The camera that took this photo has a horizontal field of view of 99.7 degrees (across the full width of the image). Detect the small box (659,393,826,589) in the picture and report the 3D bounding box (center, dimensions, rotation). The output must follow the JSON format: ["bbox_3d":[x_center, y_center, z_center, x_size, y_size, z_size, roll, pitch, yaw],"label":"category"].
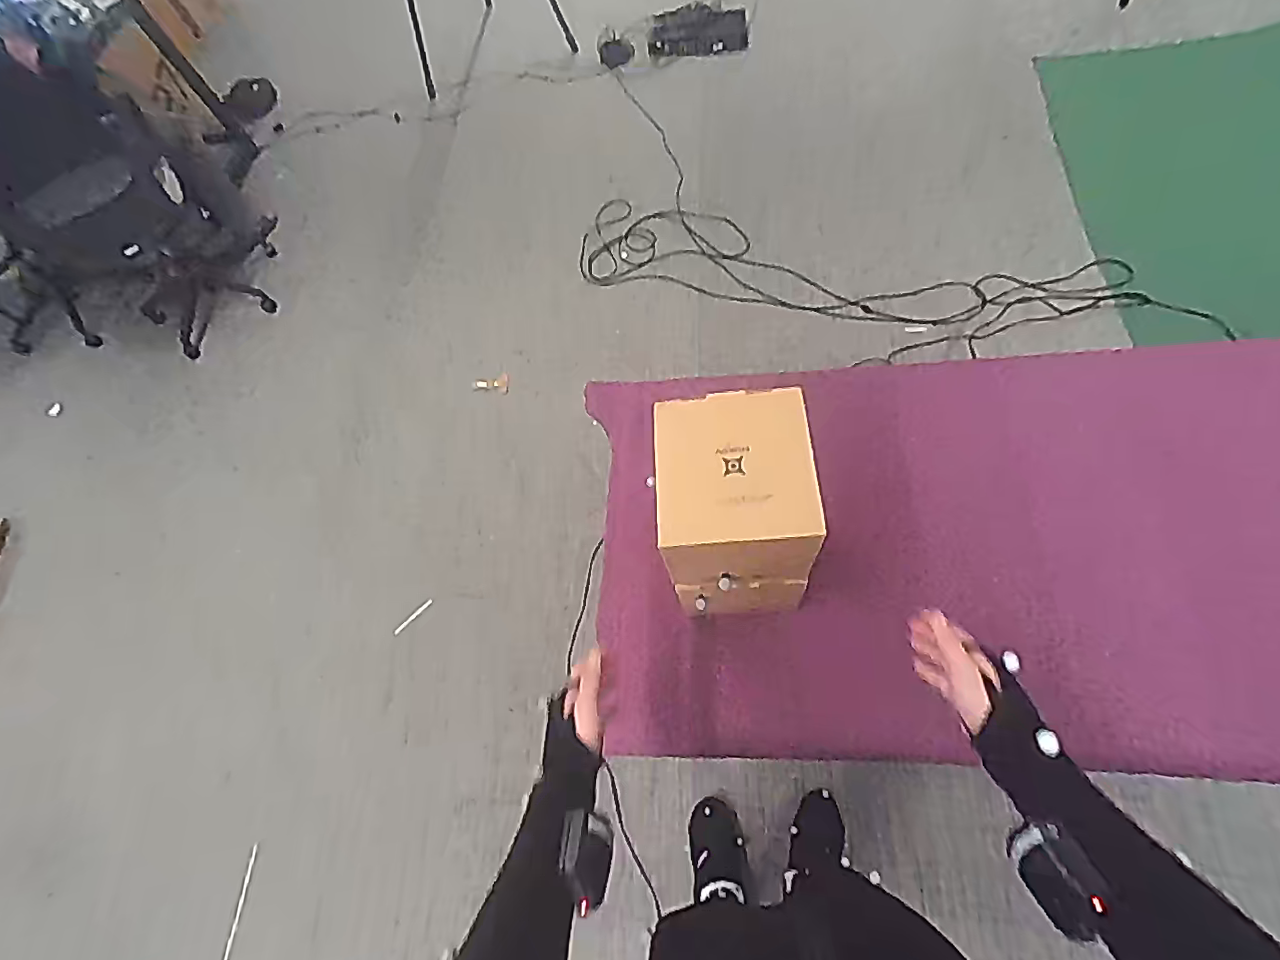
[{"bbox_3d":[0.112,0.020,0.639,0.168,0.176,0.179,-4,64,8],"label":"small box"}]
